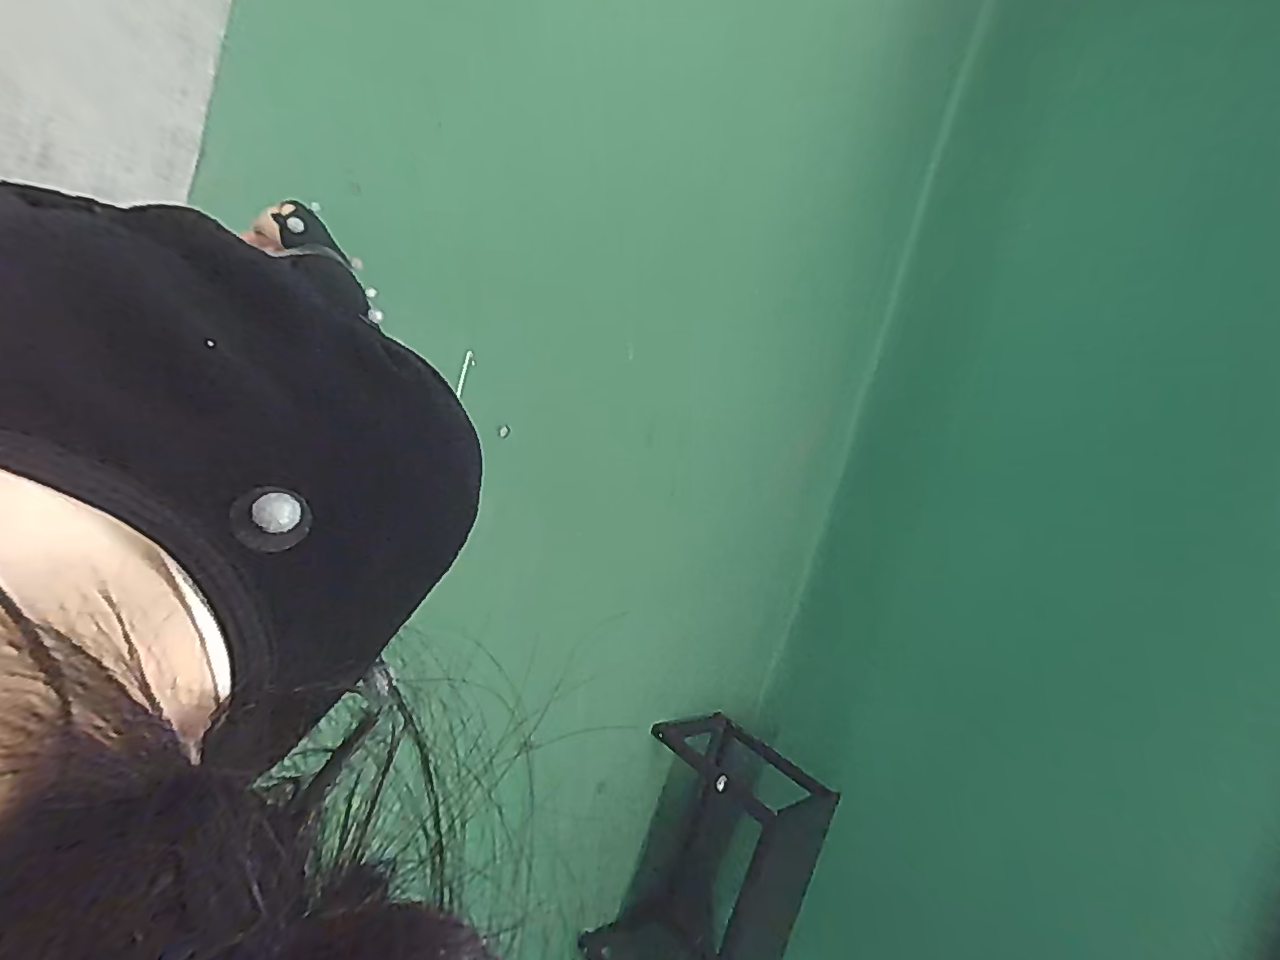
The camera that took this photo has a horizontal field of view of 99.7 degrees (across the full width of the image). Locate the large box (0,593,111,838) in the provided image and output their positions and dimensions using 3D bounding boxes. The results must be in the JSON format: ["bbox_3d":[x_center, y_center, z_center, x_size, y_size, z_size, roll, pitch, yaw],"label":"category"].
[{"bbox_3d":[-1.228,0.436,0.942,0.408,0.320,0.320,-8,111,-44],"label":"large box"}]
